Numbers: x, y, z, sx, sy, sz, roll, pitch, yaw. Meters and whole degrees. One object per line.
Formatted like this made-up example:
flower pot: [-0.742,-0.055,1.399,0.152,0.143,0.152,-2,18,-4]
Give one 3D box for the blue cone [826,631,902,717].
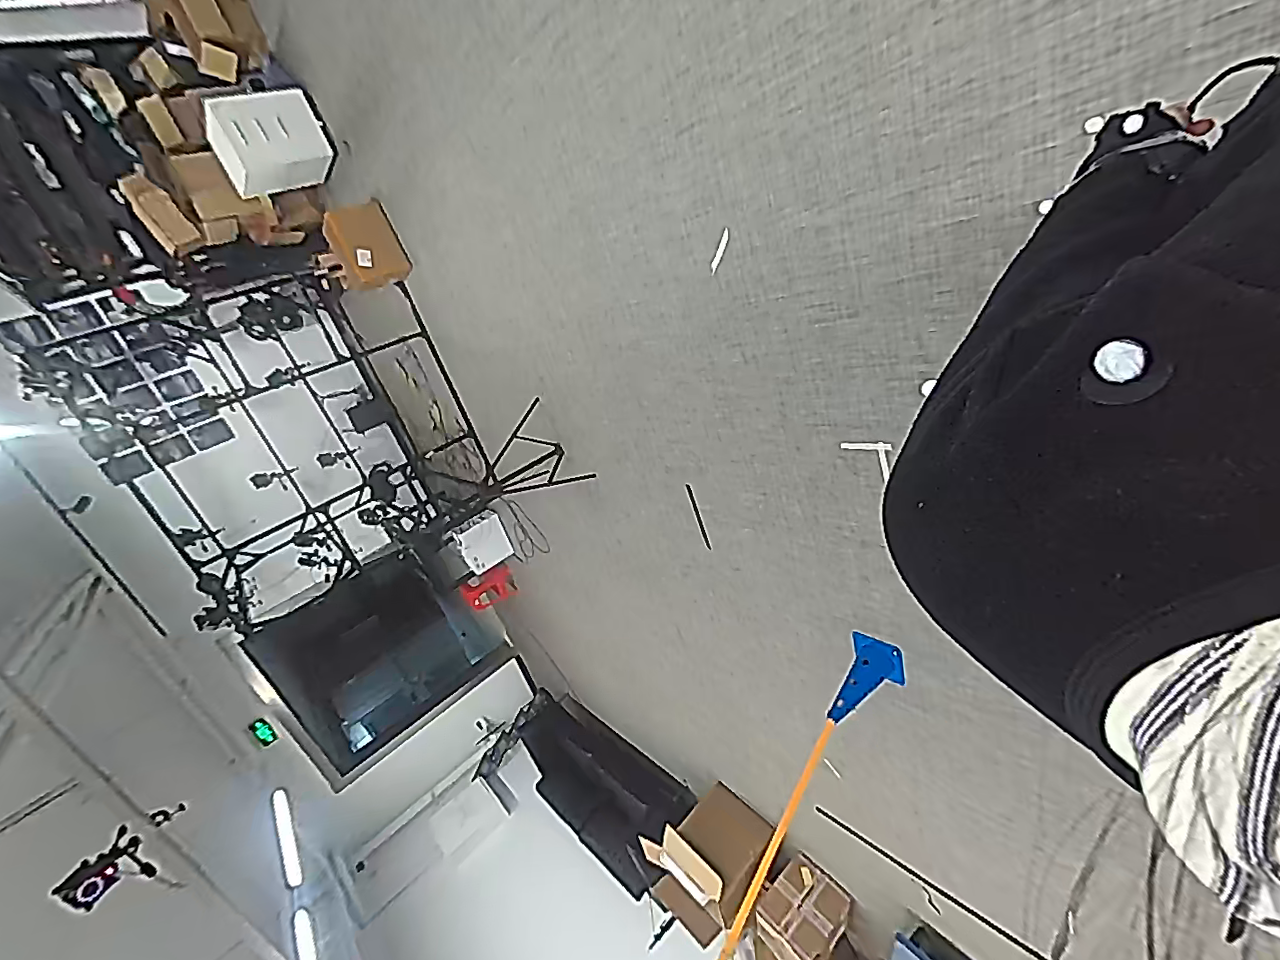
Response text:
blue cone: [0.829,0.773,2.064,0.193,0.380,0.192,15,130,49]
